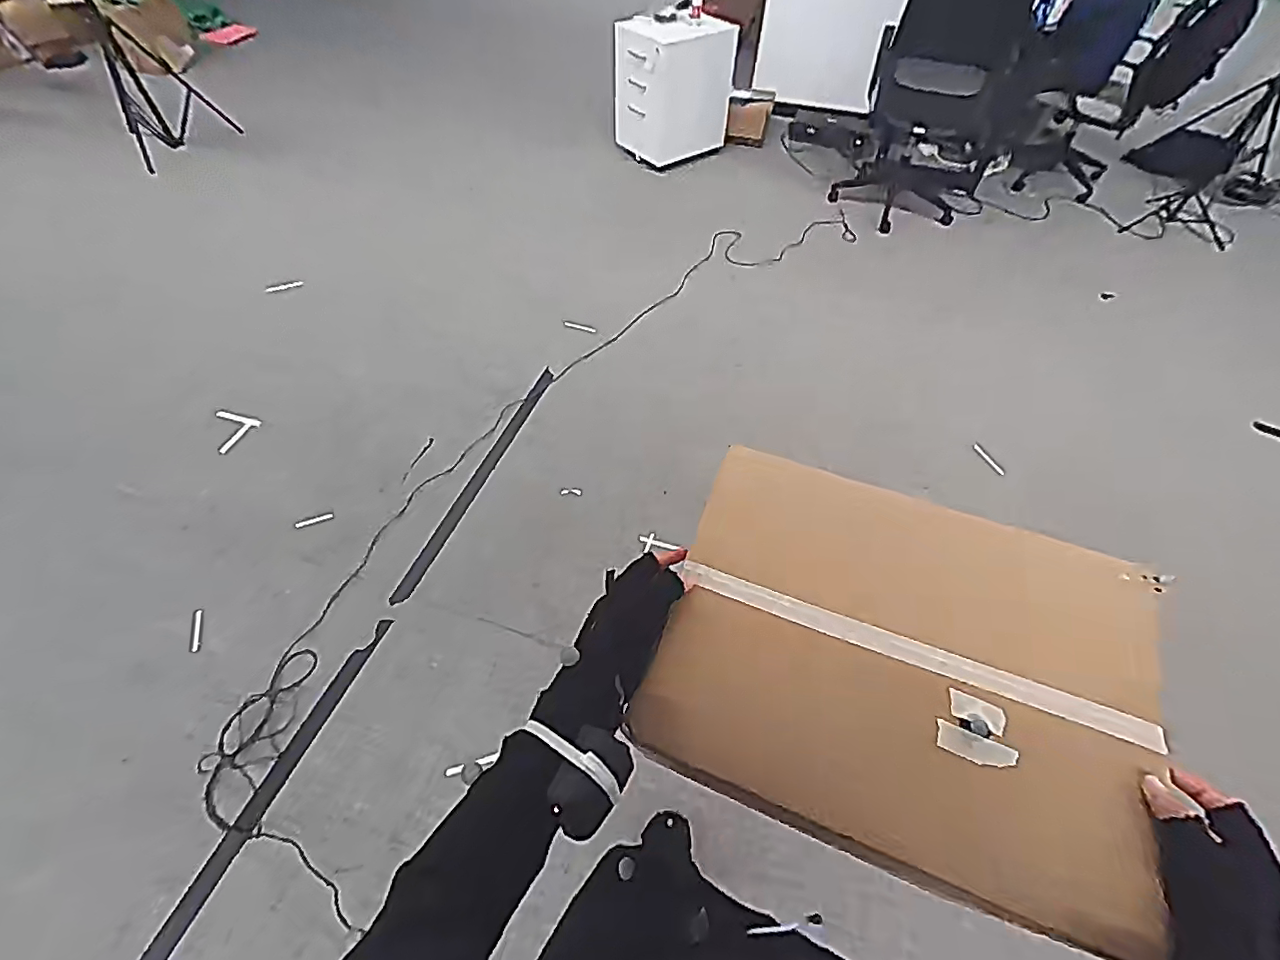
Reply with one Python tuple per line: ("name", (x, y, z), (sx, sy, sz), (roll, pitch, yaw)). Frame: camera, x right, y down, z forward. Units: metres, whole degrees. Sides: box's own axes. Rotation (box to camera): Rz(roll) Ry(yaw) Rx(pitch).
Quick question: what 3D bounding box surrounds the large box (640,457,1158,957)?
("large box", (0.243, 0.228, 0.618), (0.408, 0.320, 0.320), (19, 64, 14))
